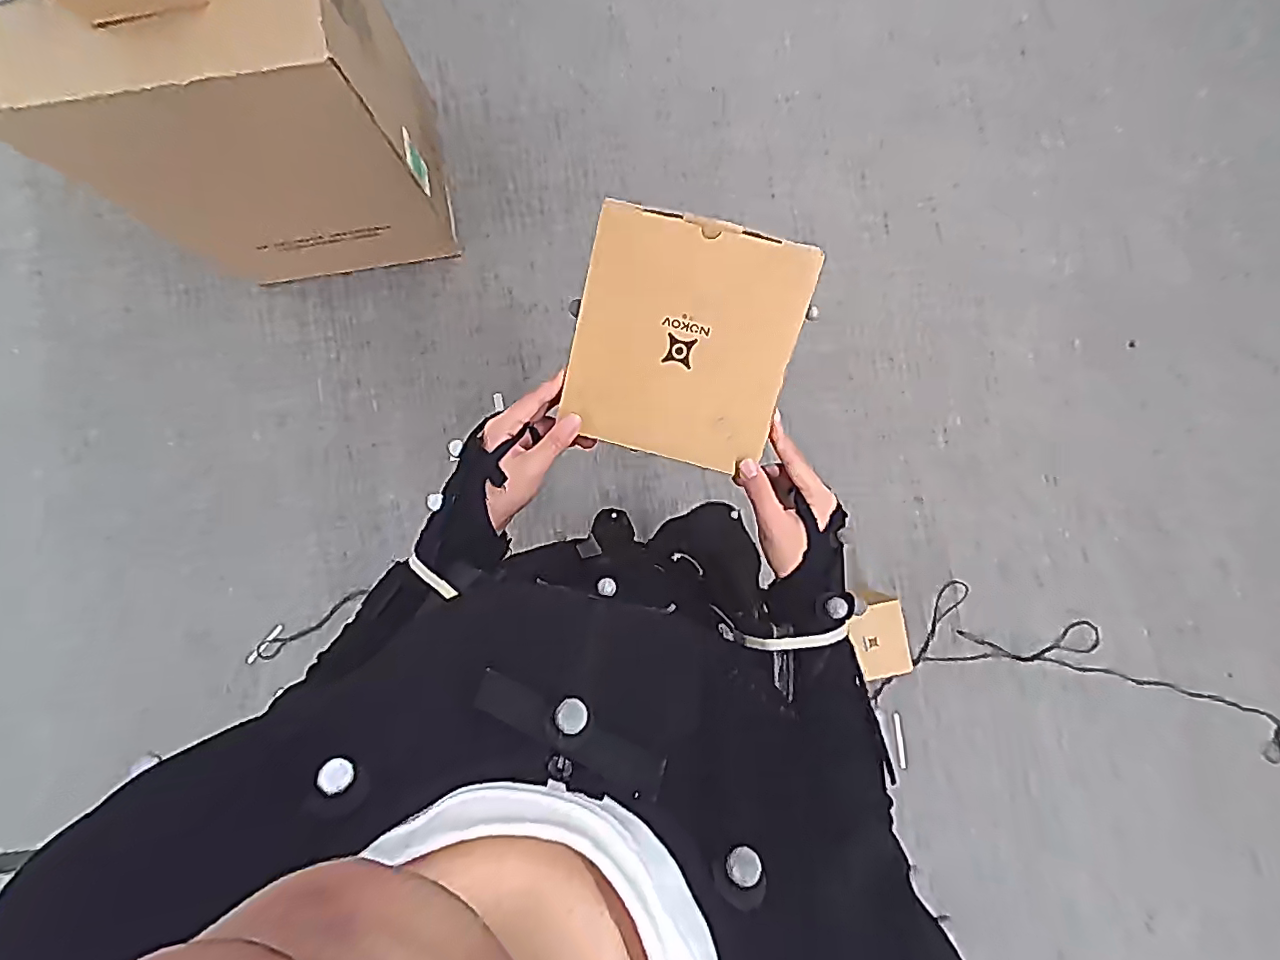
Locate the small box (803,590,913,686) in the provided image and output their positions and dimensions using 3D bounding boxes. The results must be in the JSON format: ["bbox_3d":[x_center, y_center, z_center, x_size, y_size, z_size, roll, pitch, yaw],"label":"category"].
[{"bbox_3d":[0.509,0.366,1.281,0.179,0.176,0.168,-10,88,-1],"label":"small box"}]

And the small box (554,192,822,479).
[{"bbox_3d":[0.039,-0.119,0.473,0.168,0.176,0.179,14,103,3],"label":"small box"}]
